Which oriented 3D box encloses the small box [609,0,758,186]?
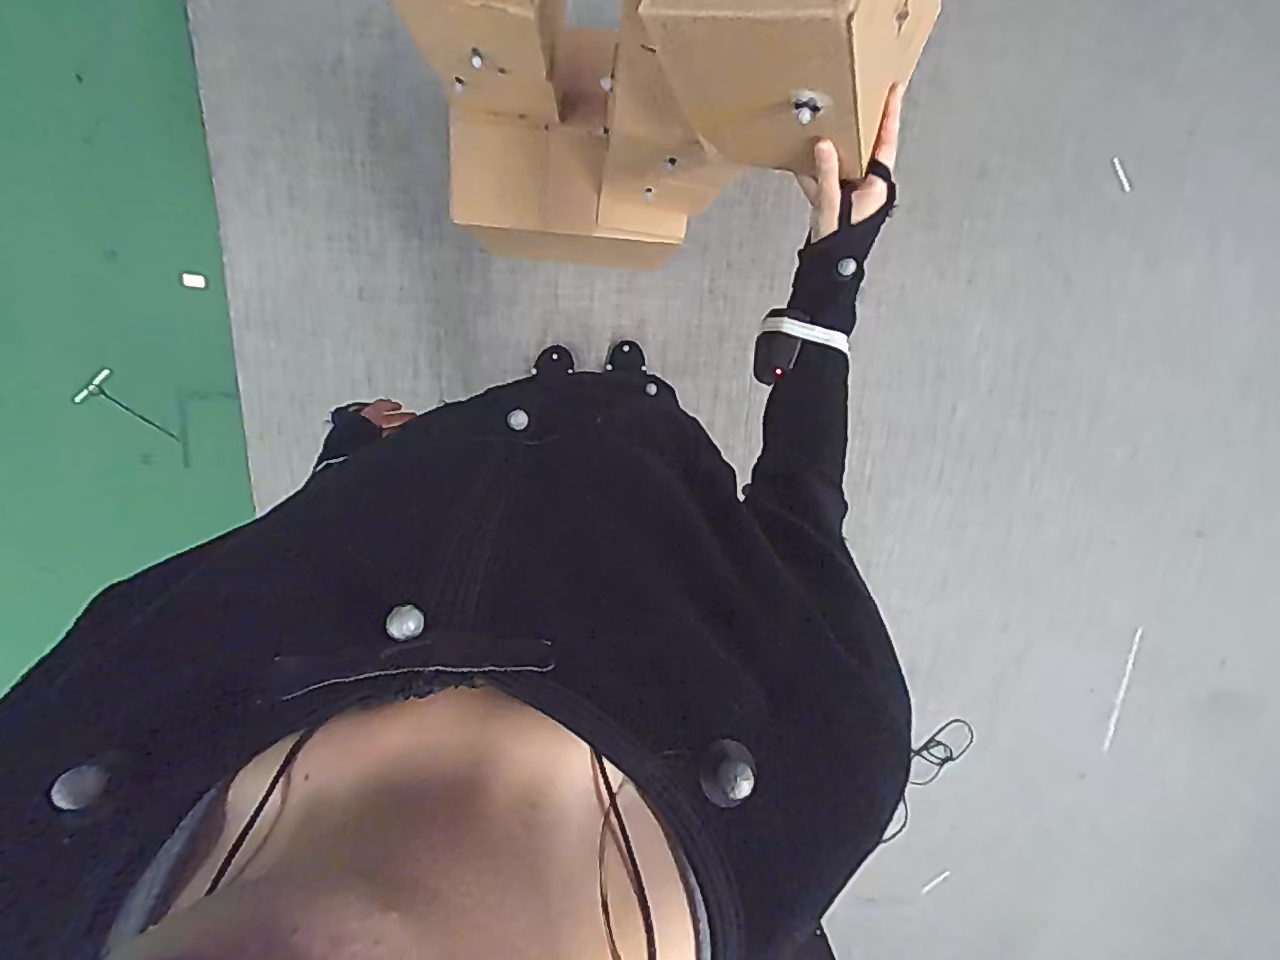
[{"bbox_3d":[0.059,-0.487,0.679,0.179,0.176,0.168,6,105,-7],"label":"small box"}]

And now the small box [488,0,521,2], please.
[{"bbox_3d":[-0.183,-0.565,0.471,0.179,0.176,0.168,3,105,-4],"label":"small box"}]

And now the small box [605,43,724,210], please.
[{"bbox_3d":[0.040,-0.529,0.837,0.179,0.176,0.168,5,107,-6],"label":"small box"}]

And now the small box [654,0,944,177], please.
[{"bbox_3d":[0.134,-0.384,0.439,0.176,0.179,0.168,25,94,24],"label":"small box"}]
